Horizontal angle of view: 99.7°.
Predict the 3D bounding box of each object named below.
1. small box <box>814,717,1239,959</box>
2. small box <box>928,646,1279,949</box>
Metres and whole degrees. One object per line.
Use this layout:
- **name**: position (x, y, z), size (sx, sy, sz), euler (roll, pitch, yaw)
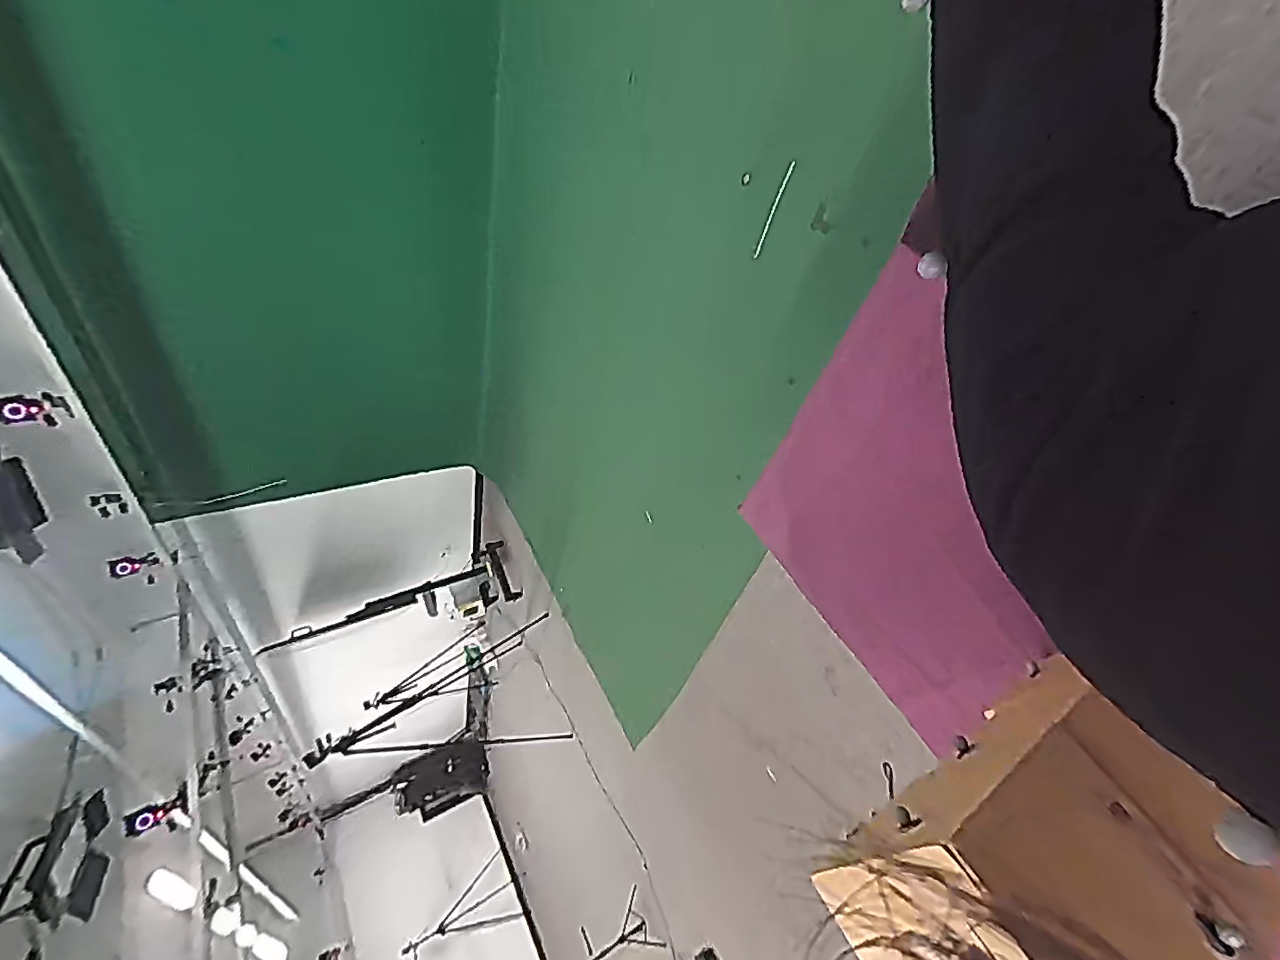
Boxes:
- **small box**: position (0.276, 0.309, 0.404), size (0.168, 0.176, 0.179), euler (56, 144, 28)
- **small box**: position (0.412, 0.283, 0.494), size (0.168, 0.176, 0.179), euler (55, 143, 29)
